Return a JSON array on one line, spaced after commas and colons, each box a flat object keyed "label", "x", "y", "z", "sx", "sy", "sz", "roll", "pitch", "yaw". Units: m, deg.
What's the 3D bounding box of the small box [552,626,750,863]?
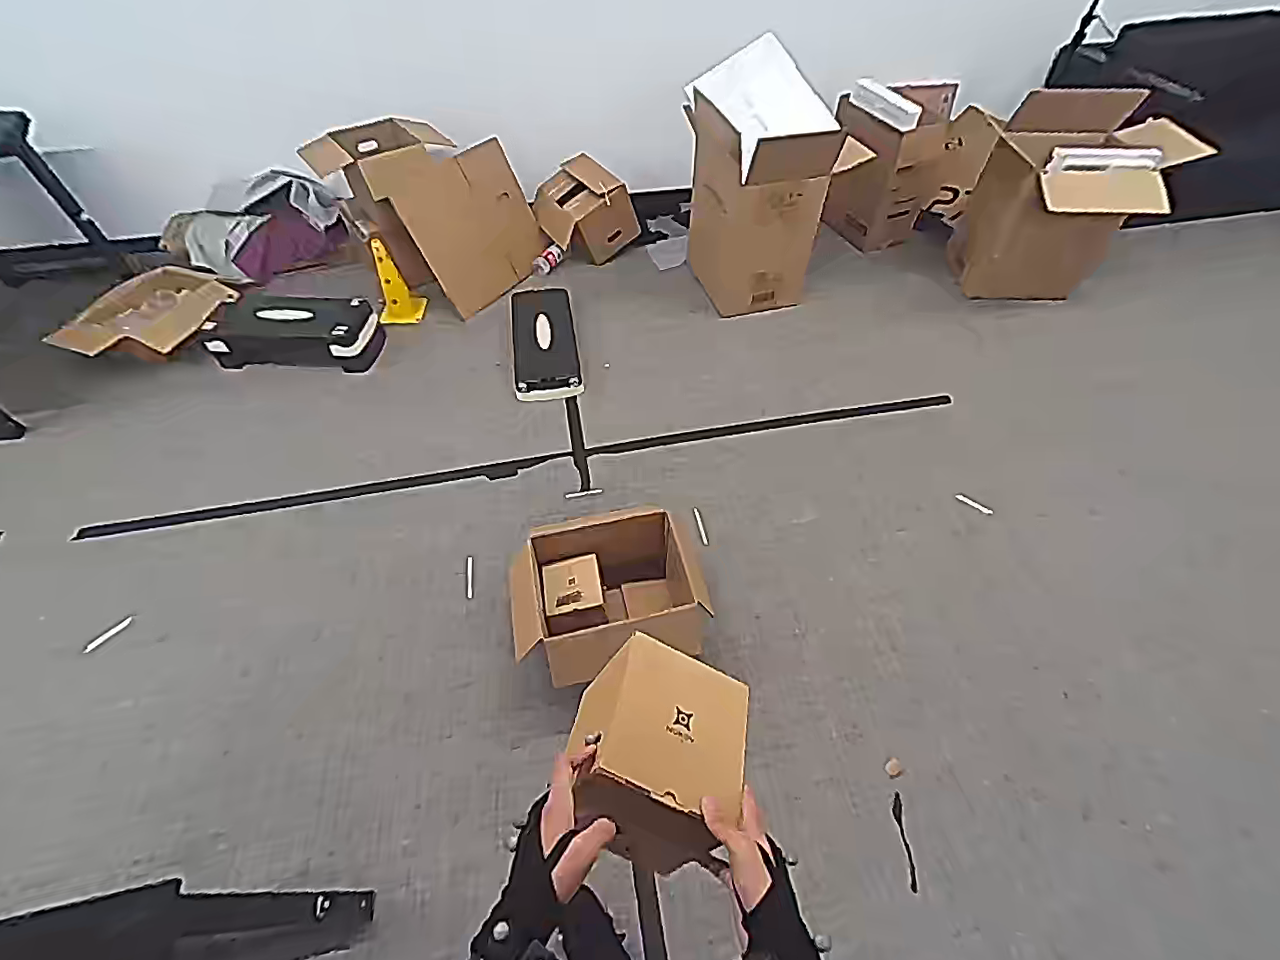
[{"label": "small box", "x": 0.013, "y": 0.317, "z": 0.649, "sx": 0.168, "sy": 0.176, "sz": 0.179, "roll": 28, "pitch": 38, "yaw": -6}]
